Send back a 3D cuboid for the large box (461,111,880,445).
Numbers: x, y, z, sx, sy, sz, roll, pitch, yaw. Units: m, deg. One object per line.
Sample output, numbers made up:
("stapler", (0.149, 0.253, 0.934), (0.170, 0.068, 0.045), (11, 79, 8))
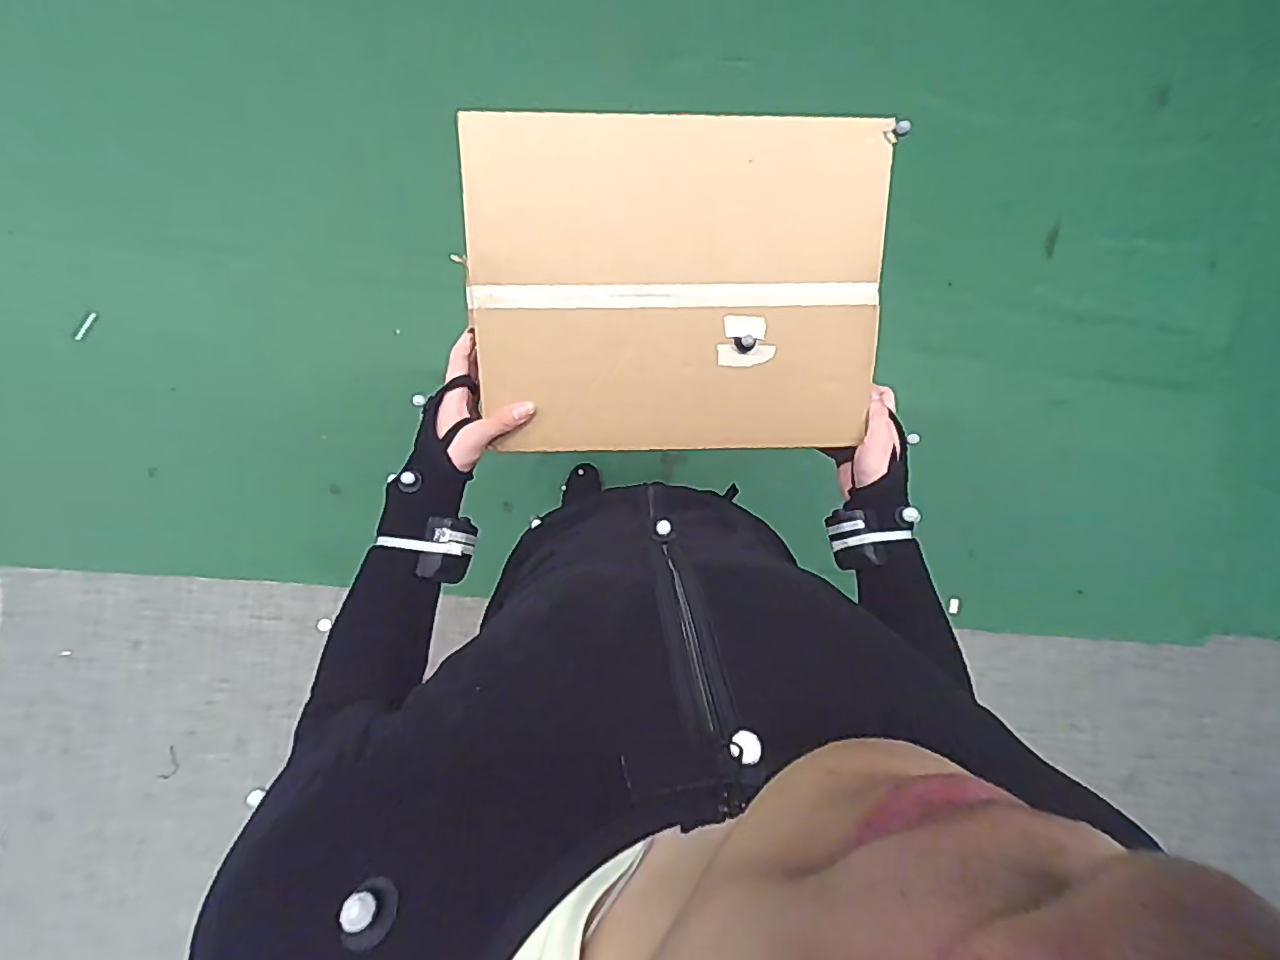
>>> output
("large box", (0.025, -0.231, 0.685), (0.408, 0.320, 0.320), (-2, 105, -4))
